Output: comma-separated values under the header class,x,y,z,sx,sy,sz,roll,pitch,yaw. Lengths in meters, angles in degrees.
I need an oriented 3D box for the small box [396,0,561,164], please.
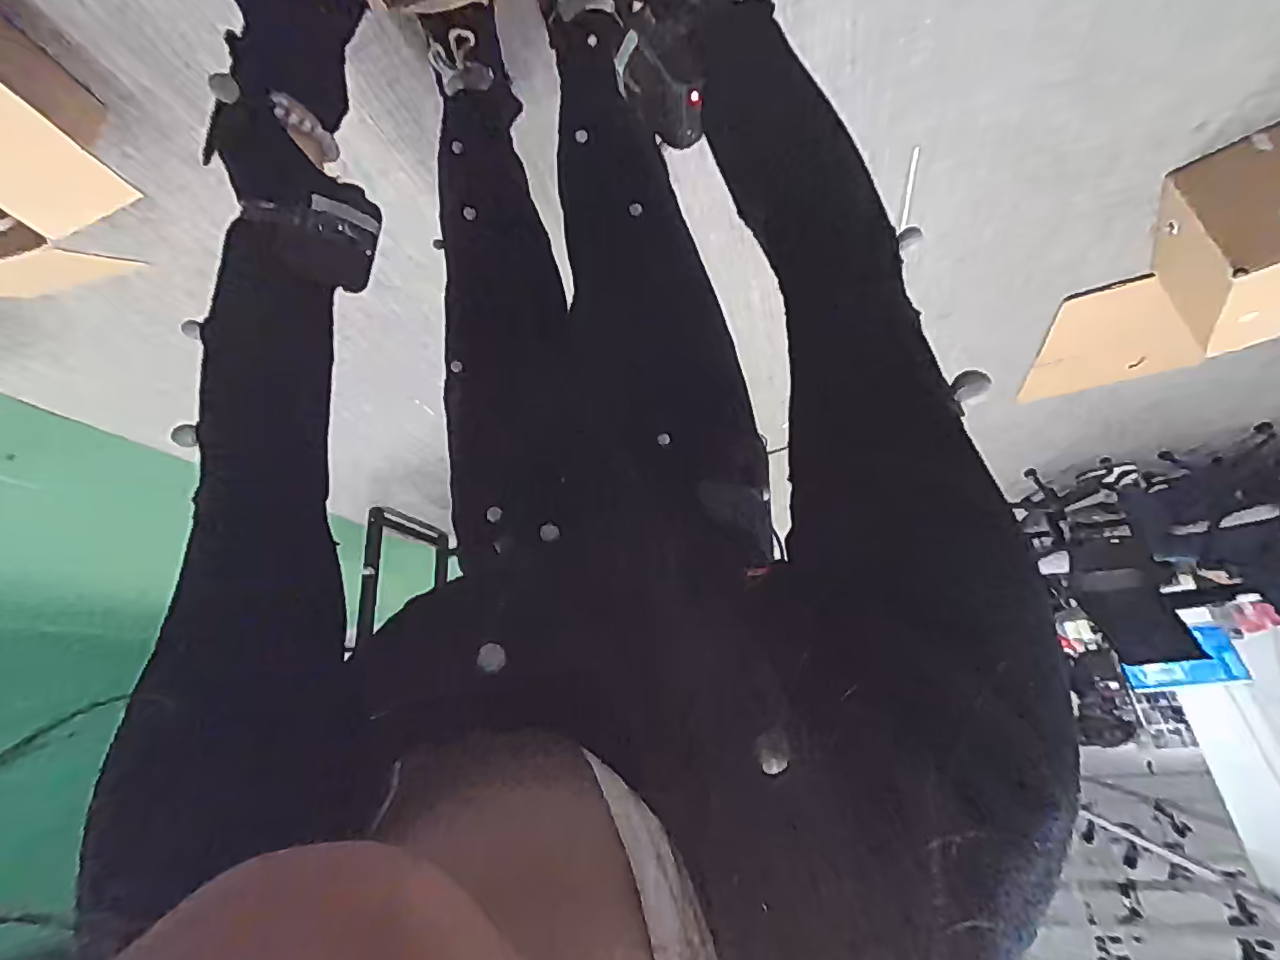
class,x,y,z,sx,sy,sz,roll,pitch,yaw
small box,-0.256,-0.649,0.843,0.179,0.176,0.168,33,145,-22
